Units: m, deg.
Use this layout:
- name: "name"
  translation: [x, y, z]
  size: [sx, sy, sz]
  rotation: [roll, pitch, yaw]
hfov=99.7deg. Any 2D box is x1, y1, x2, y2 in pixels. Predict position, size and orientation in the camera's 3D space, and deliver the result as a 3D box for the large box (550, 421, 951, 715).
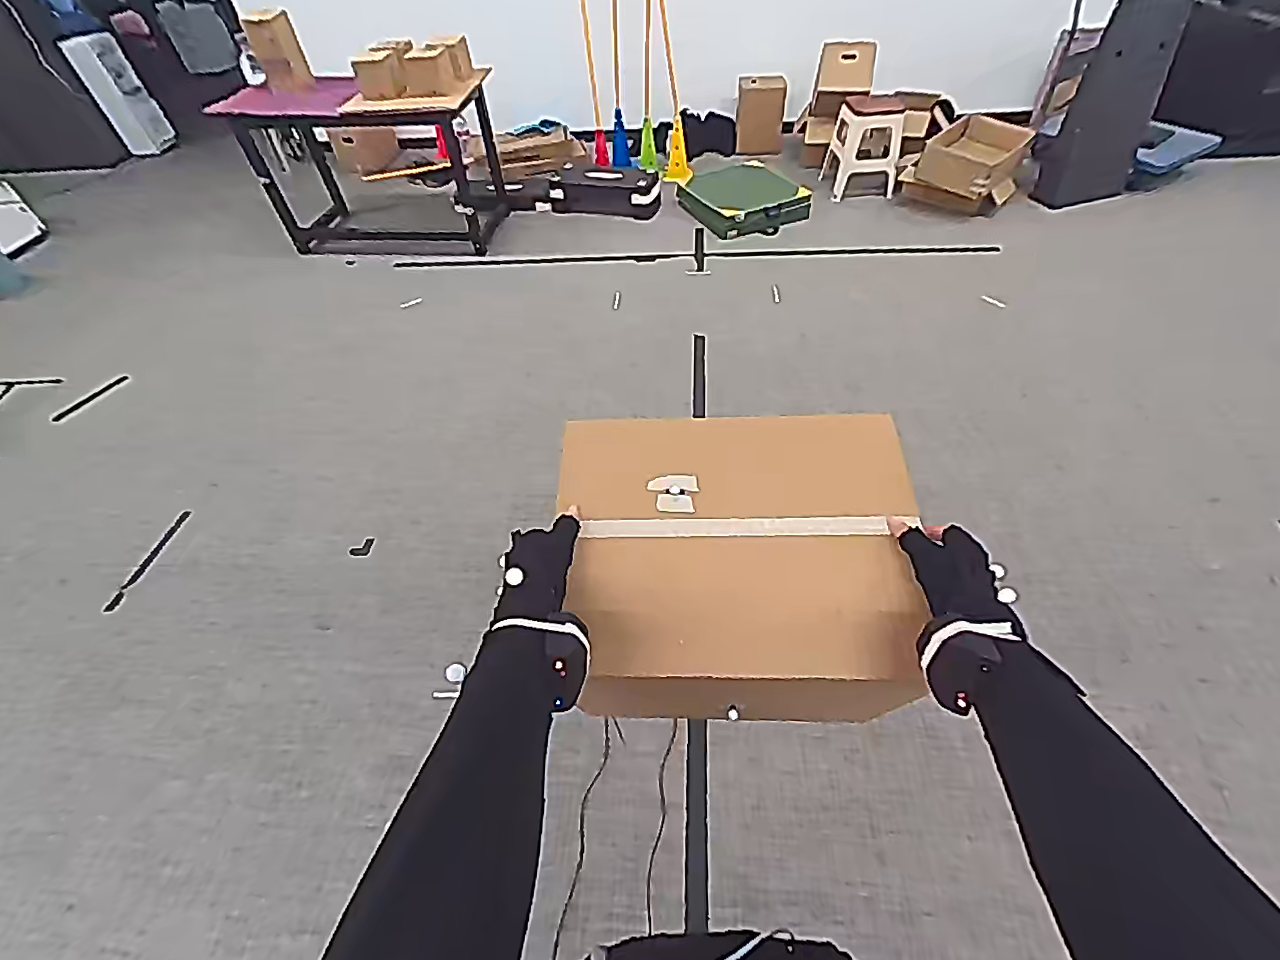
- name: "large box"
  translation: [0.120, 0.139, 0.738]
  size: [0.408, 0.320, 0.320]
  rotation: [-1, 58, 5]
